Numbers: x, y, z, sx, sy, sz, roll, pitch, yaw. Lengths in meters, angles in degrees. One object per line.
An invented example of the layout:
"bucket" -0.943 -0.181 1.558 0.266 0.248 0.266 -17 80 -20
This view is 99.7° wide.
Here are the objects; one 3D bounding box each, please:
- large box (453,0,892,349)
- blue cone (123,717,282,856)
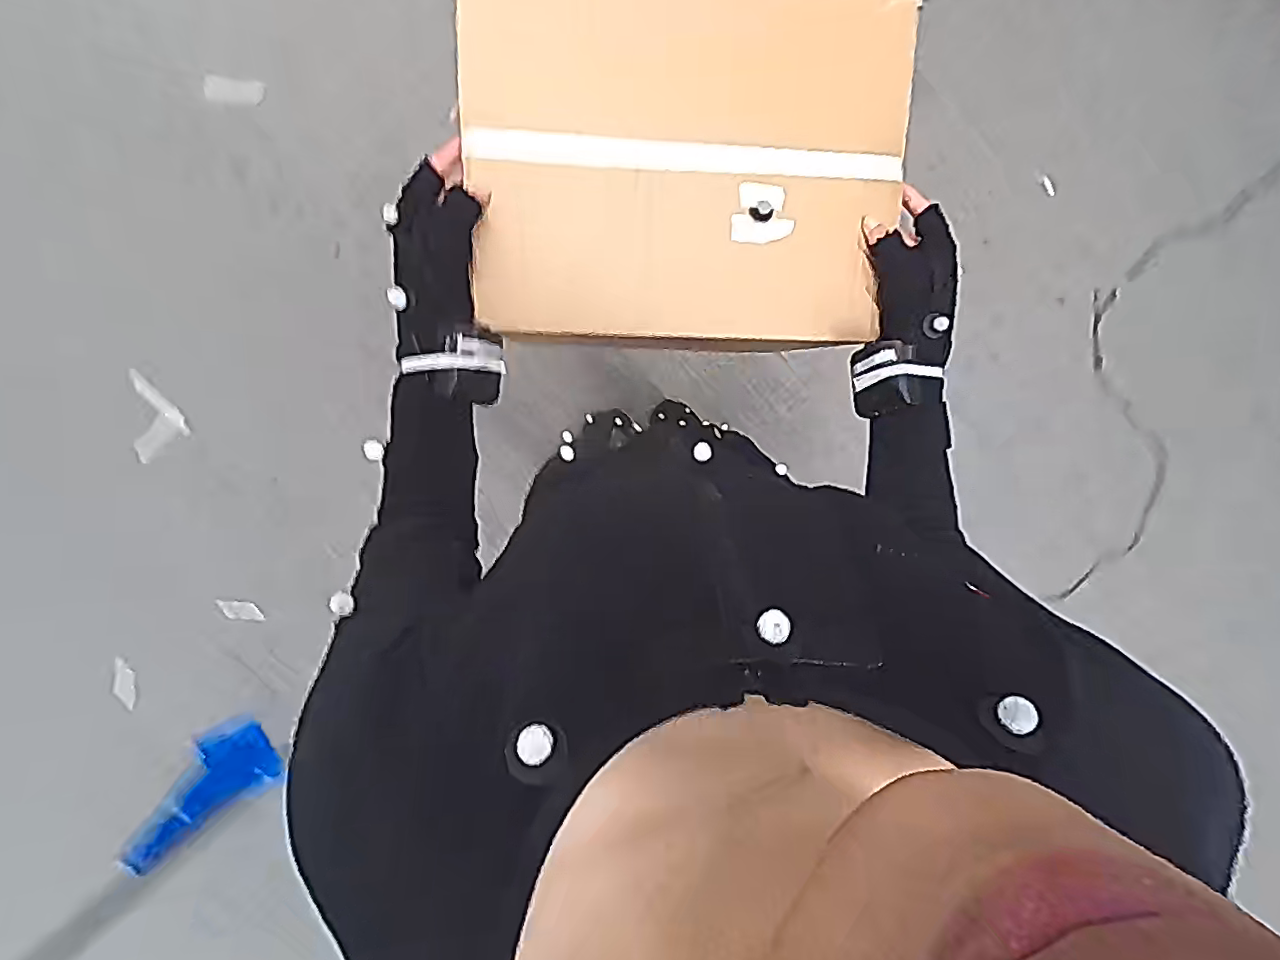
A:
"large box" 0.020 -0.327 0.649 0.408 0.320 0.320 -1 101 -7
"blue cone" -1.148 0.809 1.405 0.192 0.380 0.193 -20 98 1
